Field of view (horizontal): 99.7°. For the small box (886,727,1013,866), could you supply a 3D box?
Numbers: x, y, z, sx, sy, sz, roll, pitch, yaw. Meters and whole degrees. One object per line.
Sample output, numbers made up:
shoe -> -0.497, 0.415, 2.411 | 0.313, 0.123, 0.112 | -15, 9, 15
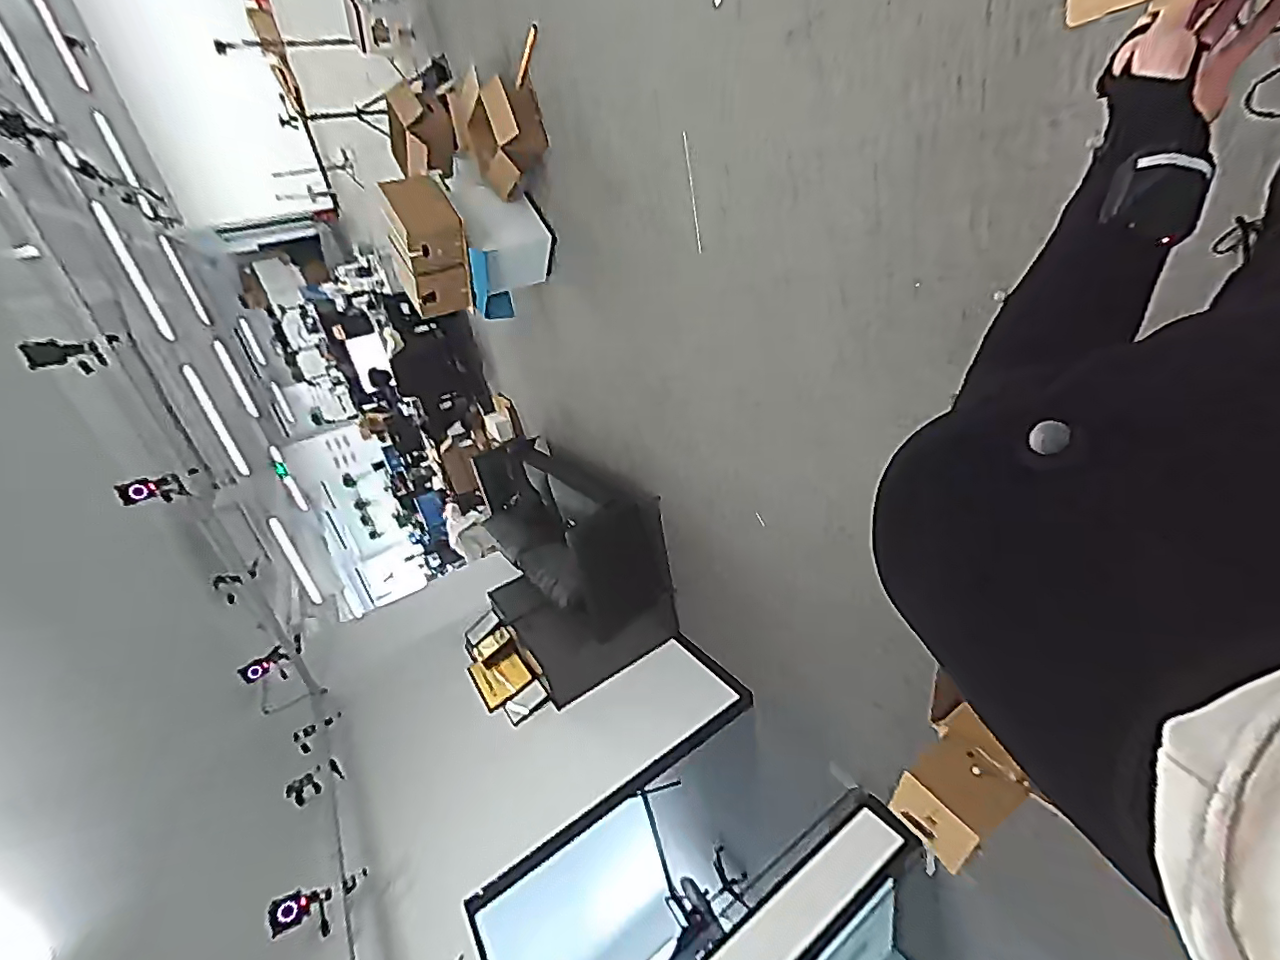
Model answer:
small box -> 0.683, 0.694, 1.198 | 0.168, 0.176, 0.179 | 38, 141, 44

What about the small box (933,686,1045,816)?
small box -> 0.814, 0.629, 1.272 | 0.168, 0.176, 0.179 | 29, 135, 51
